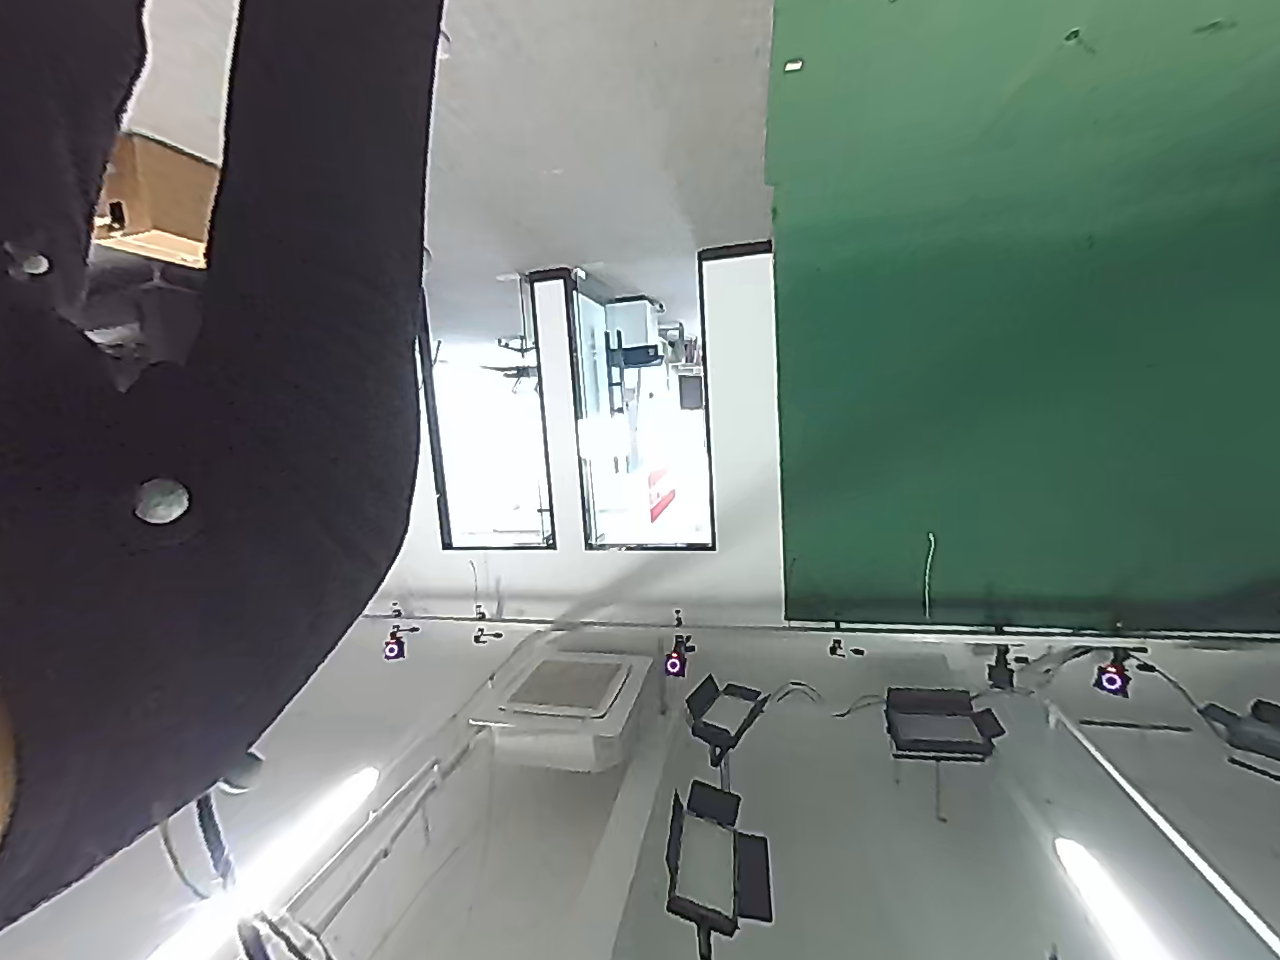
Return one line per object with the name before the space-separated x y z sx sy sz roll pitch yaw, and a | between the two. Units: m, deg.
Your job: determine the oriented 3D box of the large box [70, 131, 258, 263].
large box | -1.763 -1.038 2.029 0.320 0.320 0.408 -1 -171 12
